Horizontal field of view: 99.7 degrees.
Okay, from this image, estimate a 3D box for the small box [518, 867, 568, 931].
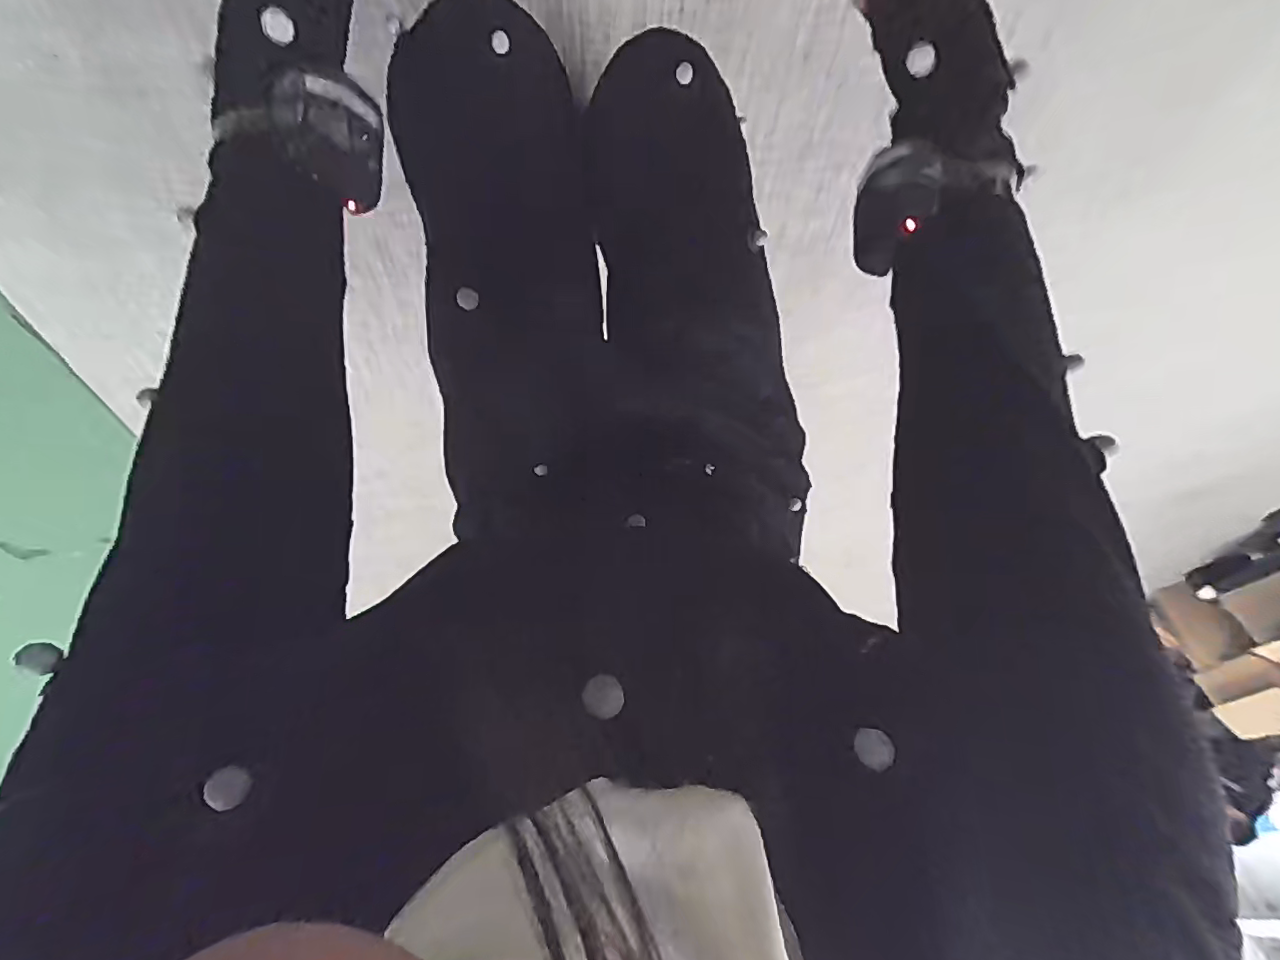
[{"bbox_3d":[-0.366,1.578,2.041,0.179,0.176,0.168,-4,141,-8],"label":"small box"}]
